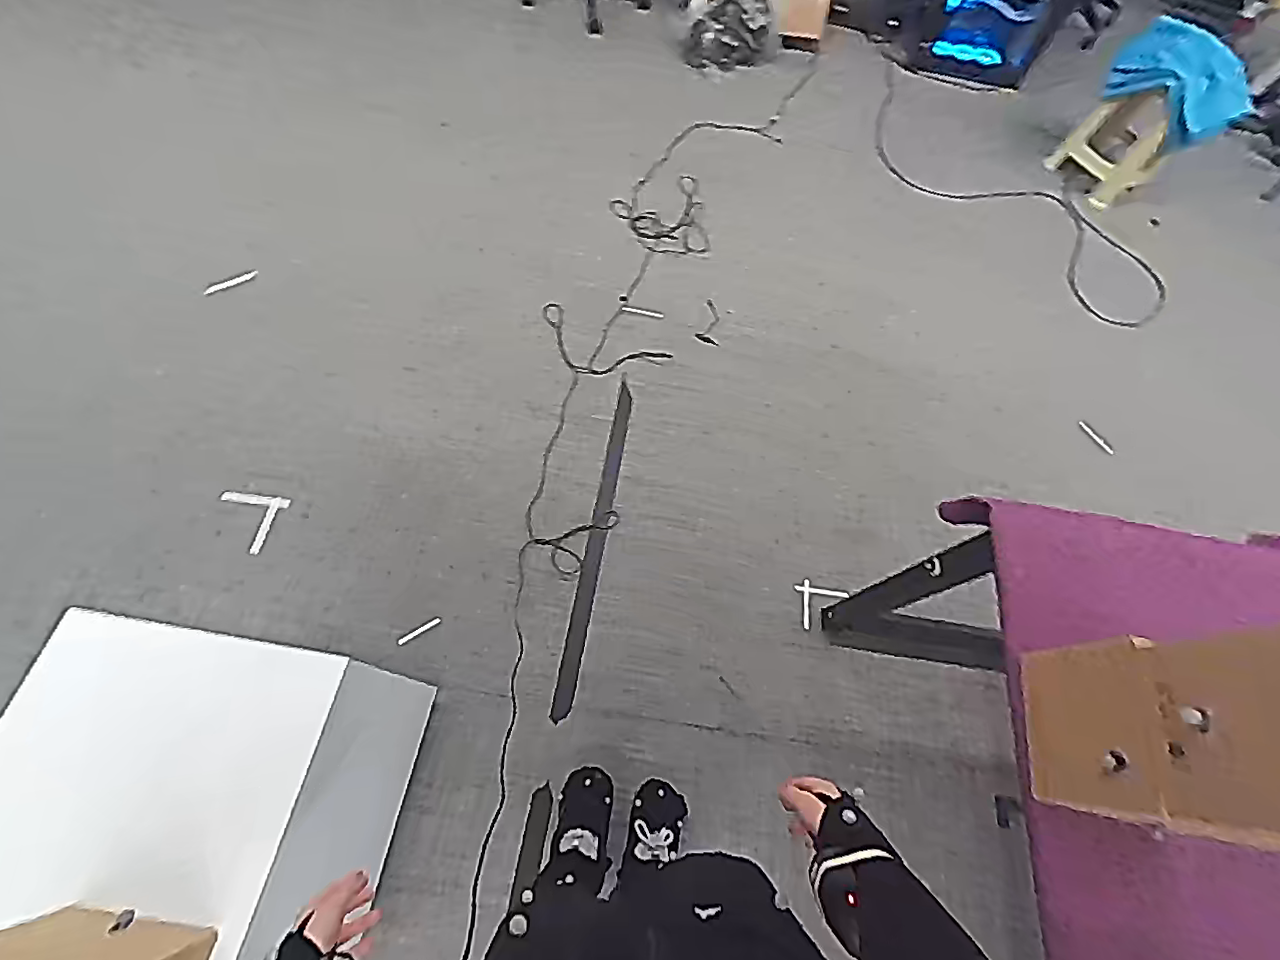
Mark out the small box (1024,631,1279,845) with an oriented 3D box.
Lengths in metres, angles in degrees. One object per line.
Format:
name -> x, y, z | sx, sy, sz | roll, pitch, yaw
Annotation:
small box -> 0.584, 0.292, 0.621 | 0.168, 0.176, 0.179 | 14, 64, -1

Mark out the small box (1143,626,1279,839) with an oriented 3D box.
small box -> 0.610, 0.228, 0.472 | 0.179, 0.176, 0.168 | 12, 65, 0

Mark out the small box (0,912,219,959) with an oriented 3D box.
small box -> -0.574, 0.547, 0.521 | 0.179, 0.176, 0.168 | 10, 64, -1
